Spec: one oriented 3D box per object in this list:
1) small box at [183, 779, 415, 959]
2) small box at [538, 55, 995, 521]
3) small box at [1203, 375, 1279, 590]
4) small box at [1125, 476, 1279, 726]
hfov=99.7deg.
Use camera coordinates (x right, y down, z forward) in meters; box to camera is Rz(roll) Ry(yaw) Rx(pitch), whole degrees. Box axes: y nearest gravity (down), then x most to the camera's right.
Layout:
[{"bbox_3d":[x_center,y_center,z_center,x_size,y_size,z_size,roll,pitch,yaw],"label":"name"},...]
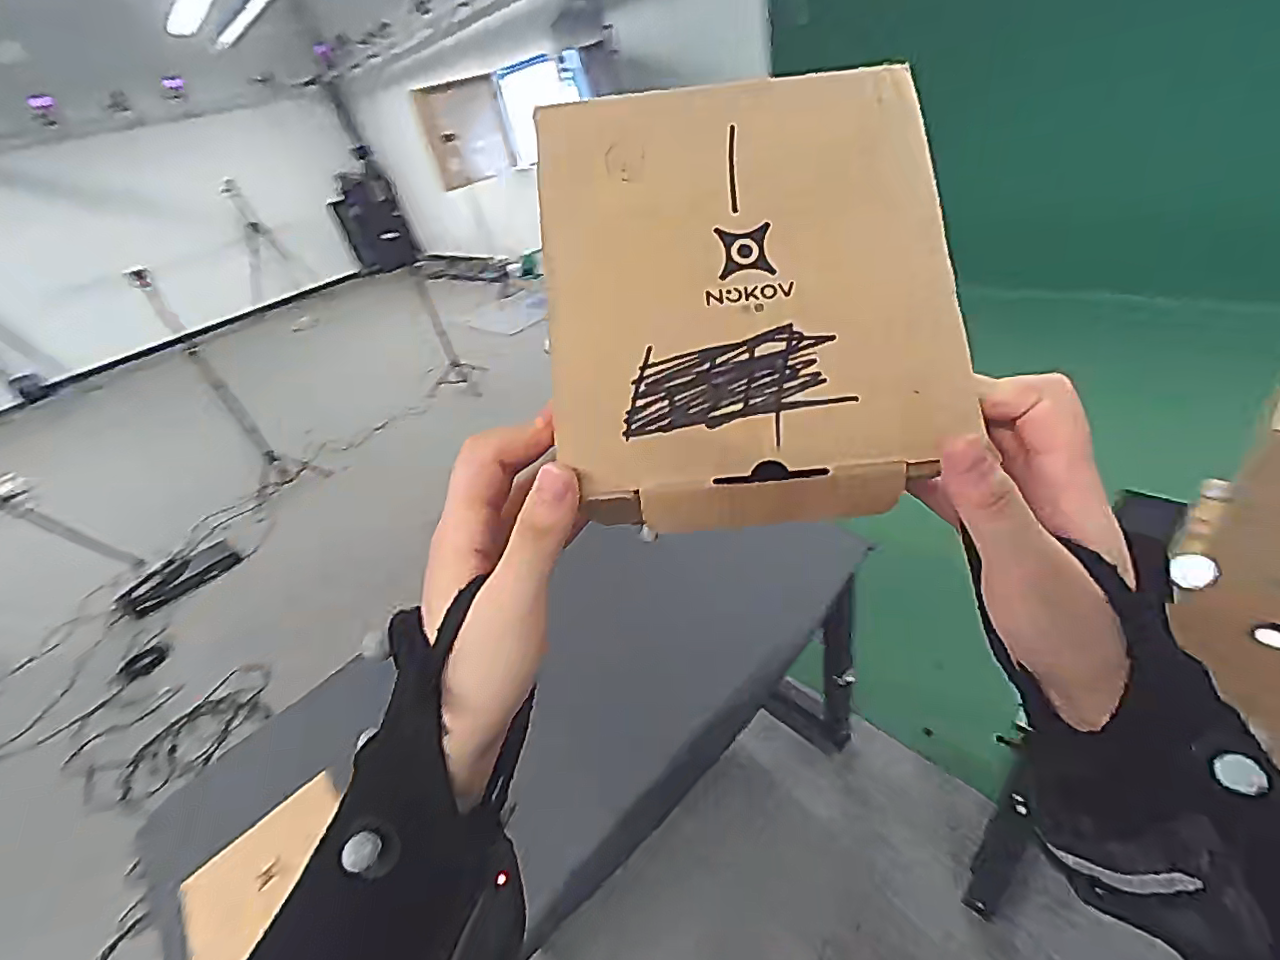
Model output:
[{"bbox_3d":[-0.410,0.531,0.674,0.168,0.176,0.179,21,49,43],"label":"small box"},{"bbox_3d":[0.048,-0.071,0.292,0.168,0.179,0.176,-5,-9,2],"label":"small box"},{"bbox_3d":[0.620,0.002,0.449,0.179,0.176,0.168,-38,41,-27],"label":"small box"},{"bbox_3d":[0.648,0.128,0.551,0.179,0.176,0.168,23,50,41],"label":"small box"}]
